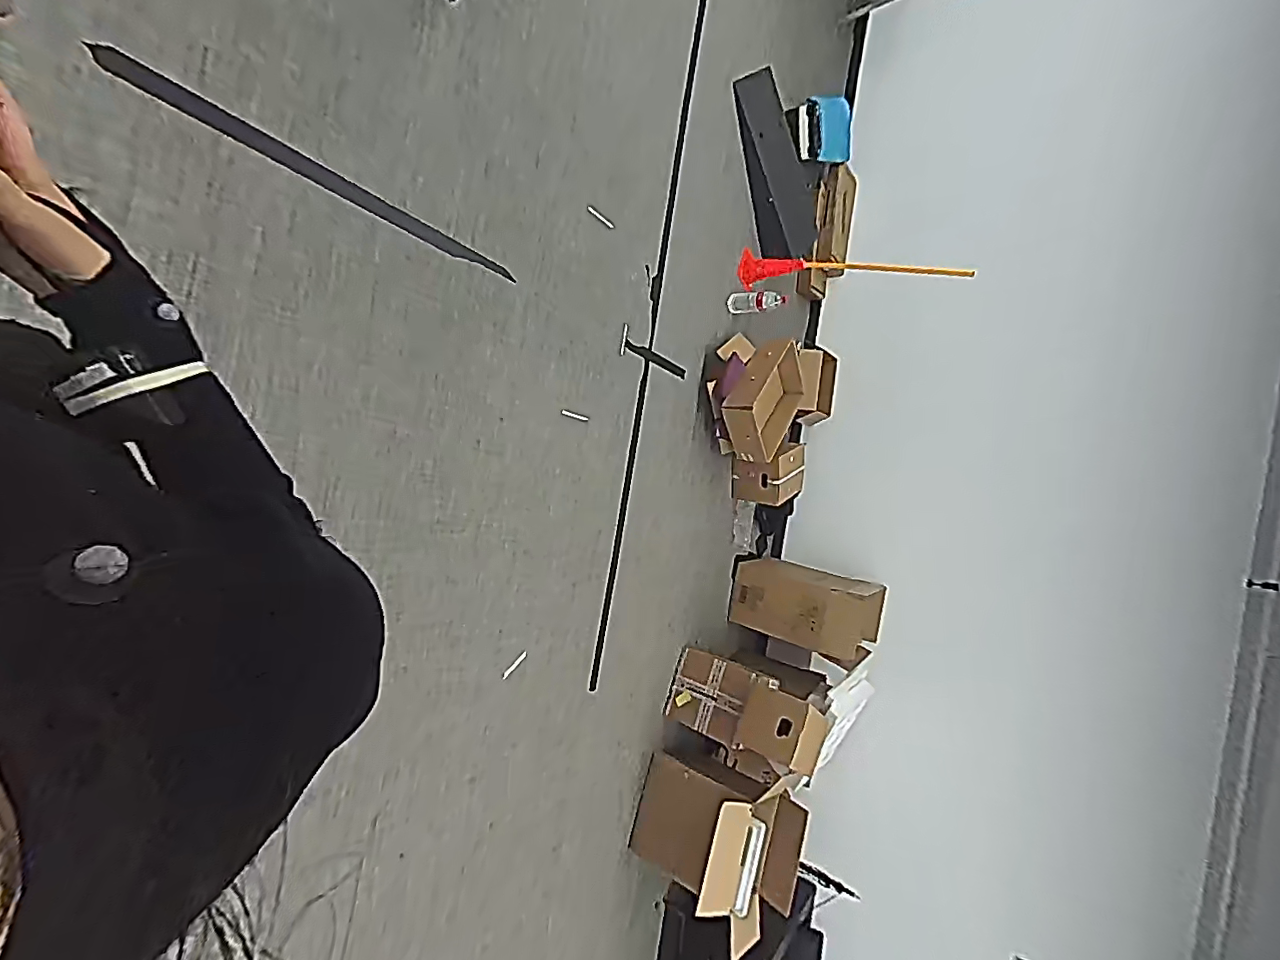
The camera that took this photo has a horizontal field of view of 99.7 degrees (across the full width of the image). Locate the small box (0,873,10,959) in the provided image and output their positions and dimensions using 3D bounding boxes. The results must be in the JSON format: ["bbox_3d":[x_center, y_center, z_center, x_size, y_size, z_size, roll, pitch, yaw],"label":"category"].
[{"bbox_3d":[-1.235,0.799,0.931,0.179,0.176,0.168,0,97,-55],"label":"small box"}]
